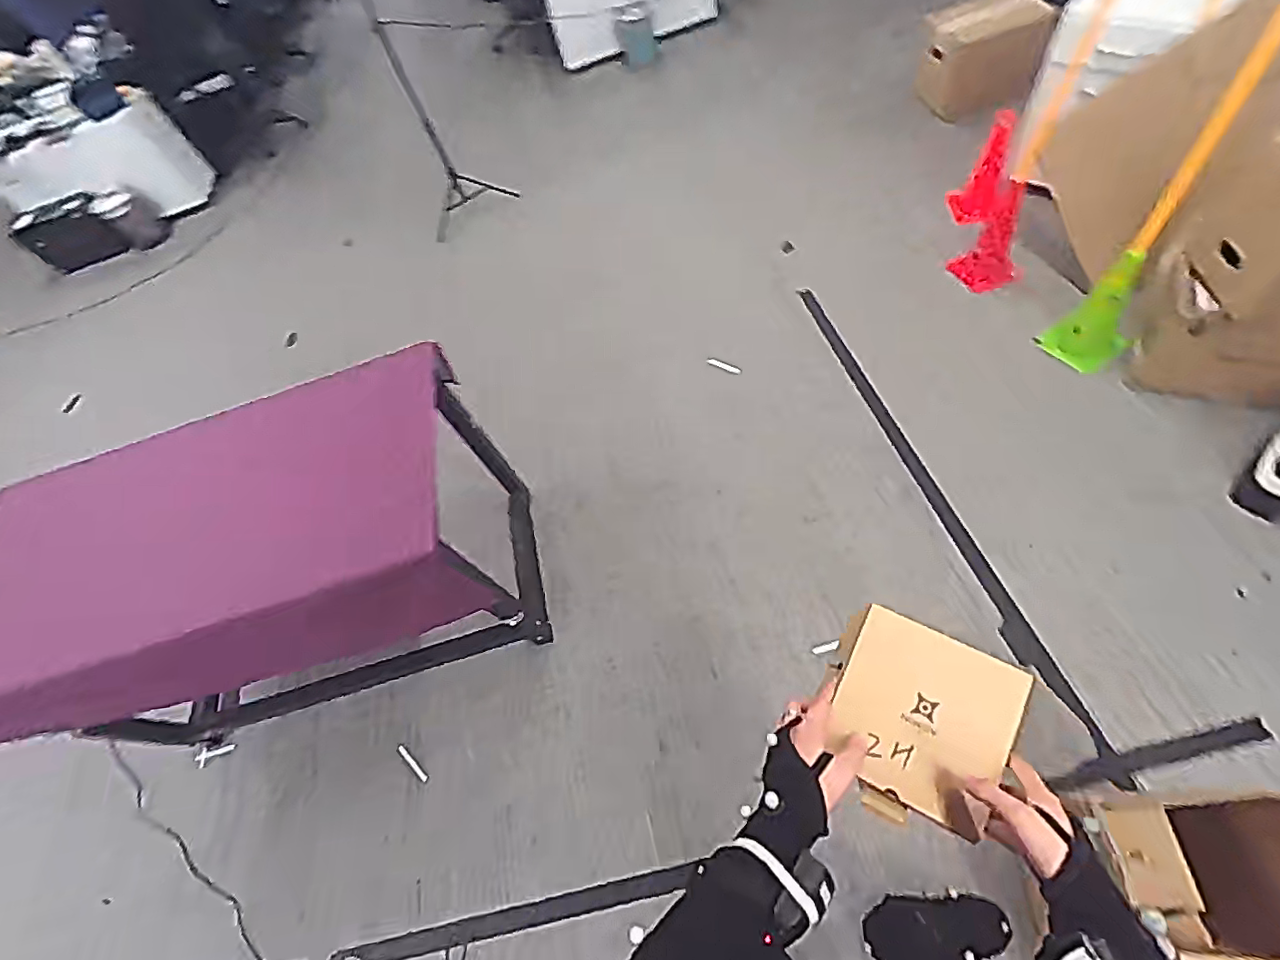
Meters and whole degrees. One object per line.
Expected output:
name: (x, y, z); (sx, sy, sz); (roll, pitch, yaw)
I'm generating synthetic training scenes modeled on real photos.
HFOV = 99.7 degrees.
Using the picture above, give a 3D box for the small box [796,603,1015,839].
small box: (0.293, 0.268, 0.636); (0.168, 0.176, 0.179); (24, 77, 19)
